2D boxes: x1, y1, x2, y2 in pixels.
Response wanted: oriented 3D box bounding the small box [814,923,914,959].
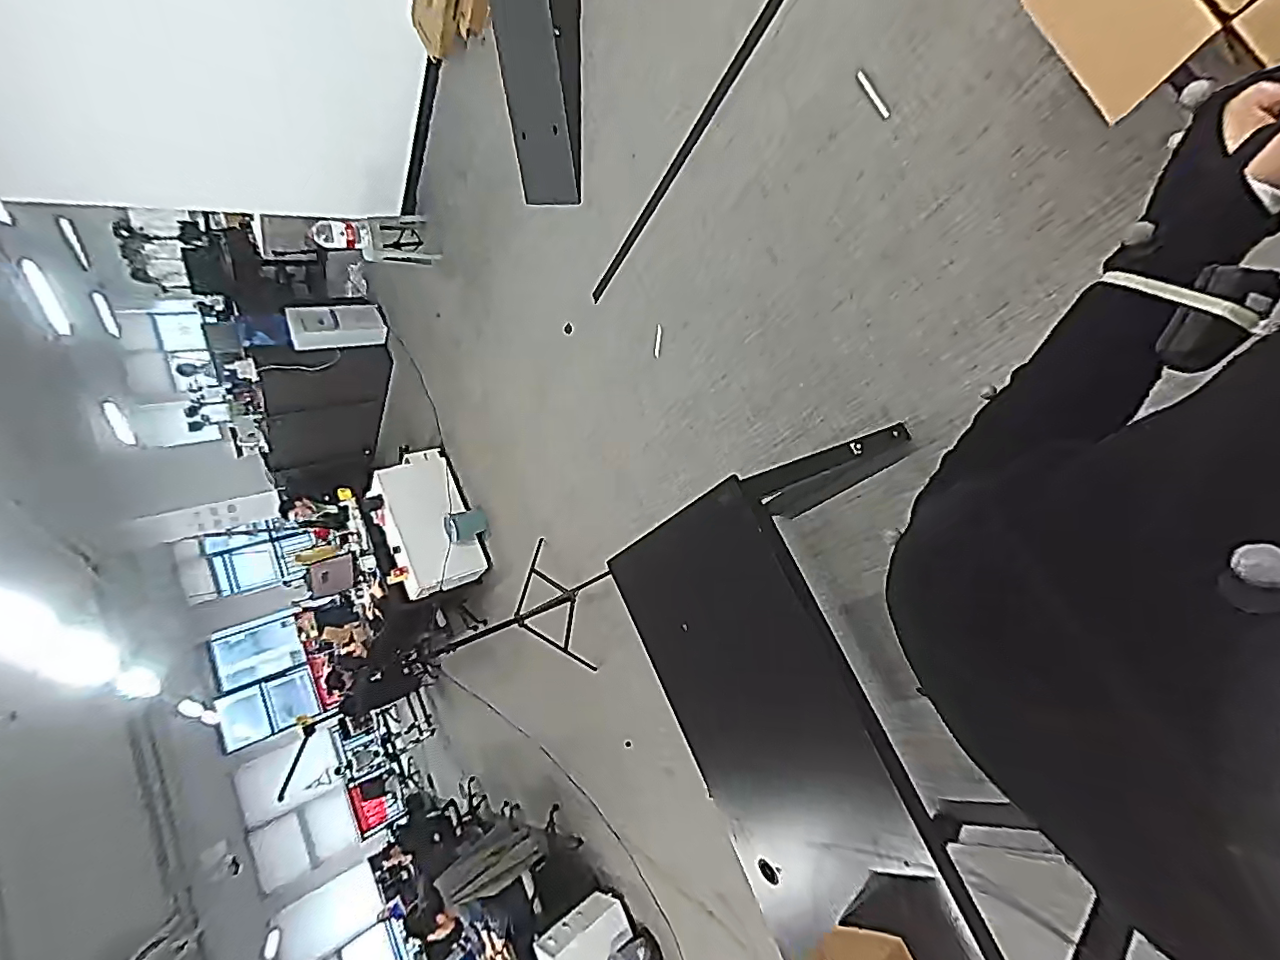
[{"bbox_3d":[0.437,0.991,1.026,0.168,0.176,0.179,62,144,17],"label":"small box"}]
